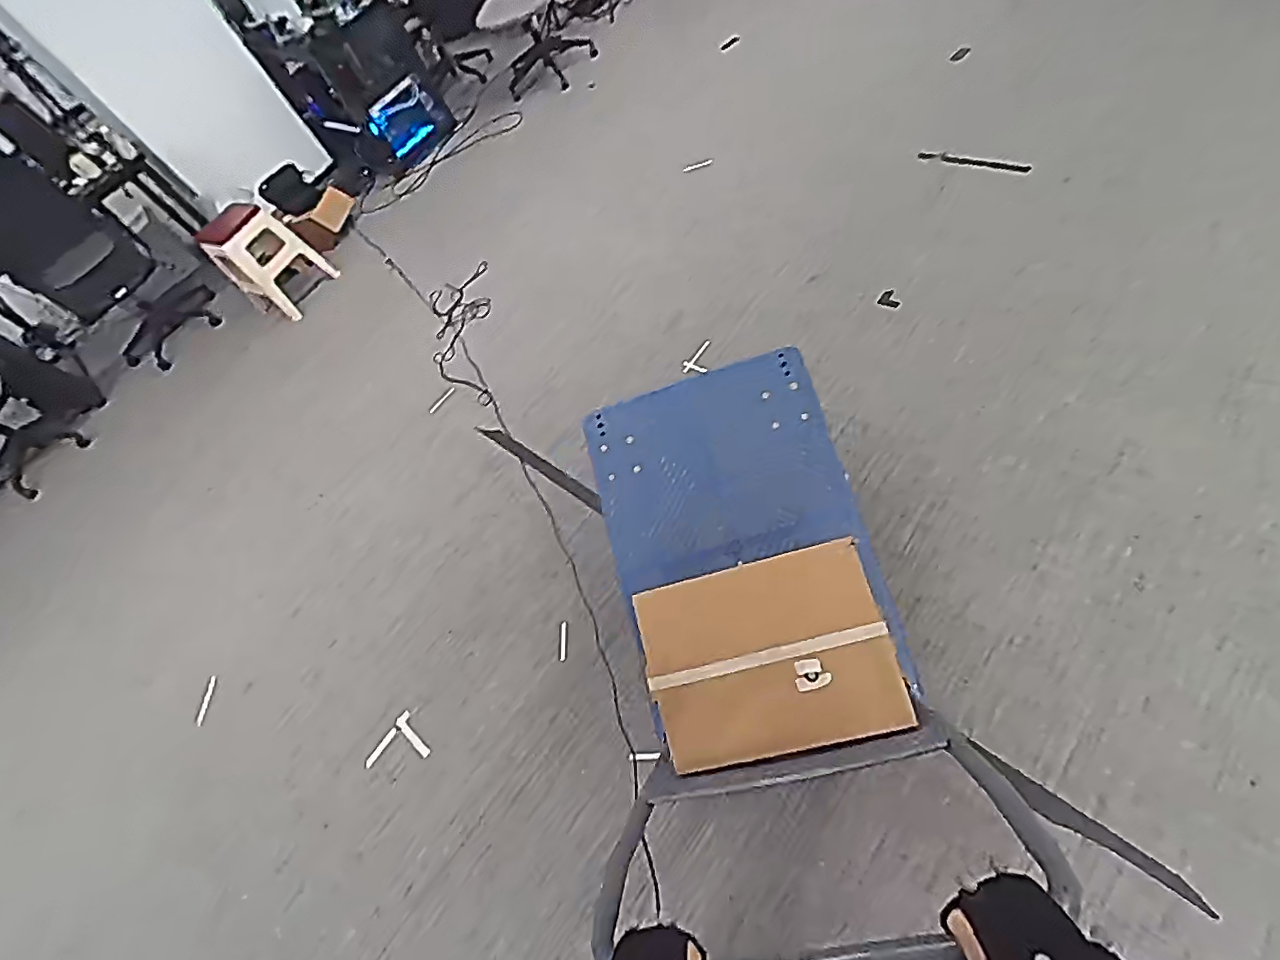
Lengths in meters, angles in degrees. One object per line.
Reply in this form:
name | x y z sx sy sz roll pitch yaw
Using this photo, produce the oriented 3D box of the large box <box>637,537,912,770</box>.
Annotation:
large box | 0.250 0.331 1.082 0.408 0.320 0.320 -17 76 9
